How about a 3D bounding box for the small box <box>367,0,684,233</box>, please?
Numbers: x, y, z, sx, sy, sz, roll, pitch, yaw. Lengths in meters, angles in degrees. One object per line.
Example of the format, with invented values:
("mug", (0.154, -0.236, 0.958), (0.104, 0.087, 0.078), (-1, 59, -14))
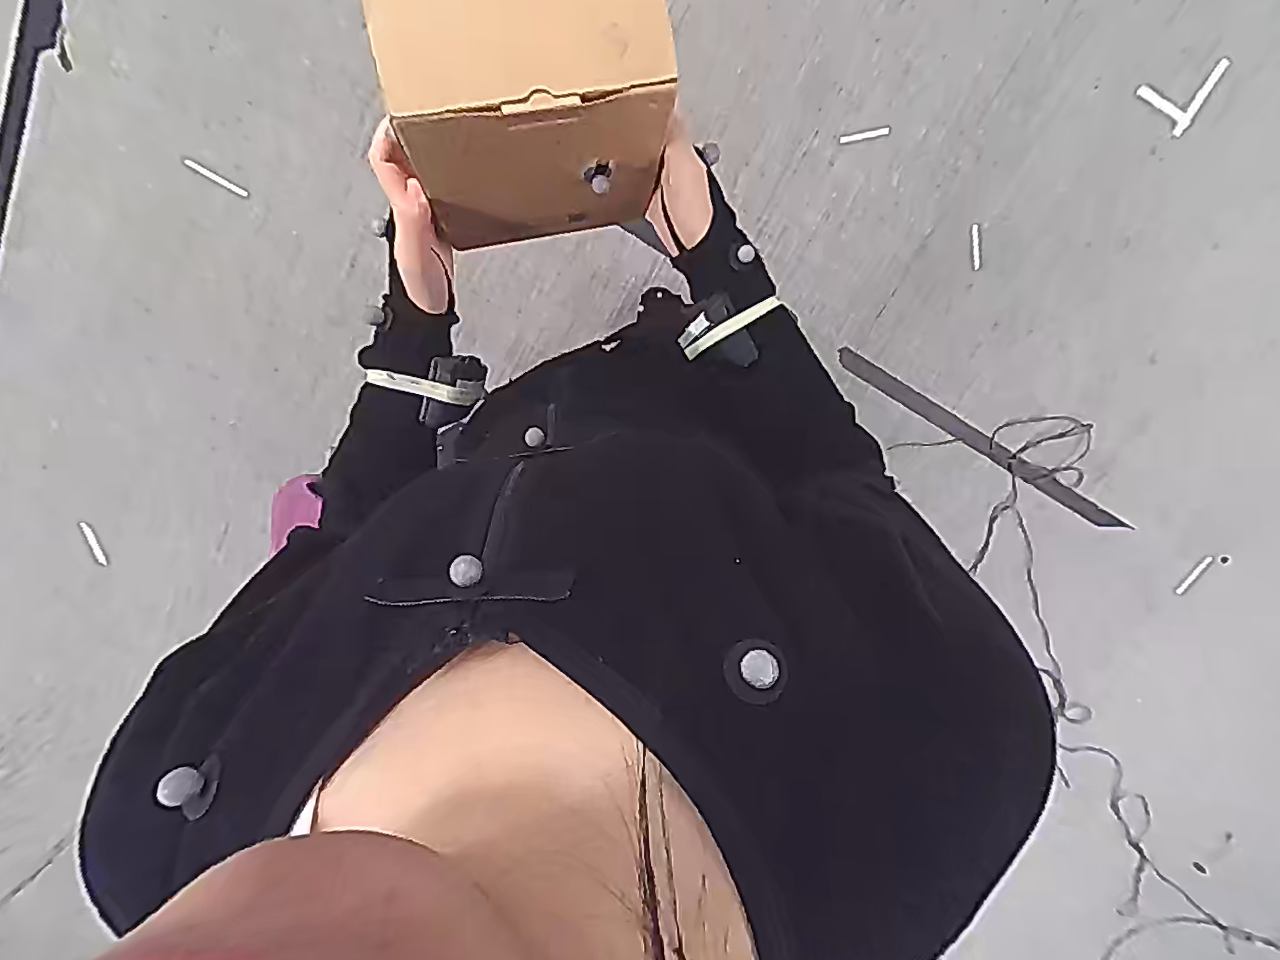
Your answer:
("small box", (-0.080, -0.292, 0.372), (0.168, 0.176, 0.179), (-13, 91, -8))
